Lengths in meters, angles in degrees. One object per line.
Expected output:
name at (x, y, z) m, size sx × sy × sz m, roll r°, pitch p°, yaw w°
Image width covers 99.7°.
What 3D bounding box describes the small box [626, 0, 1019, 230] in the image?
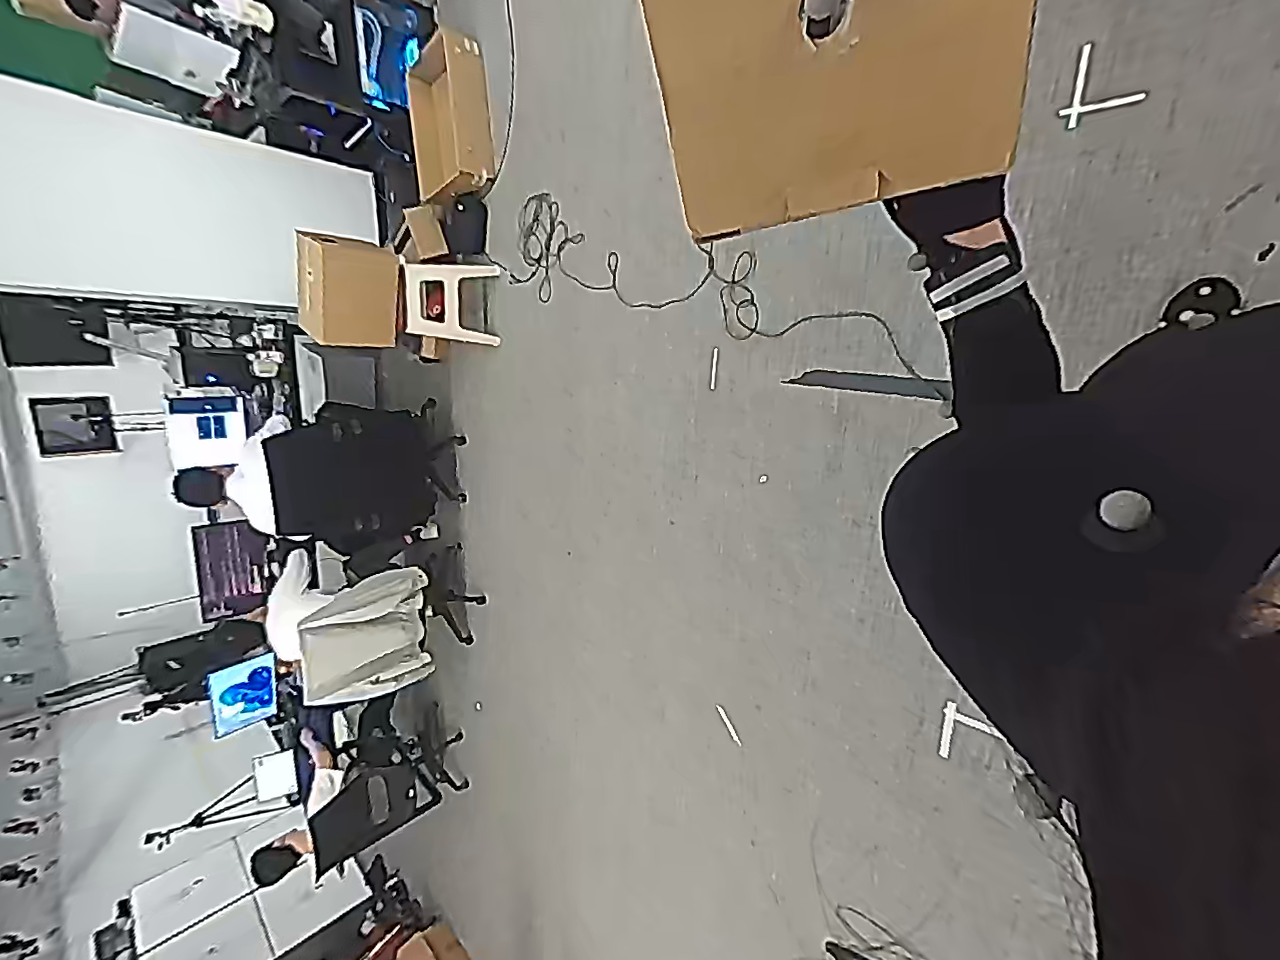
small box at (0.093, -0.264, 0.292) m, size 0.168 × 0.179 × 0.176 m, roll -2°, pitch 130°, yaw 23°
